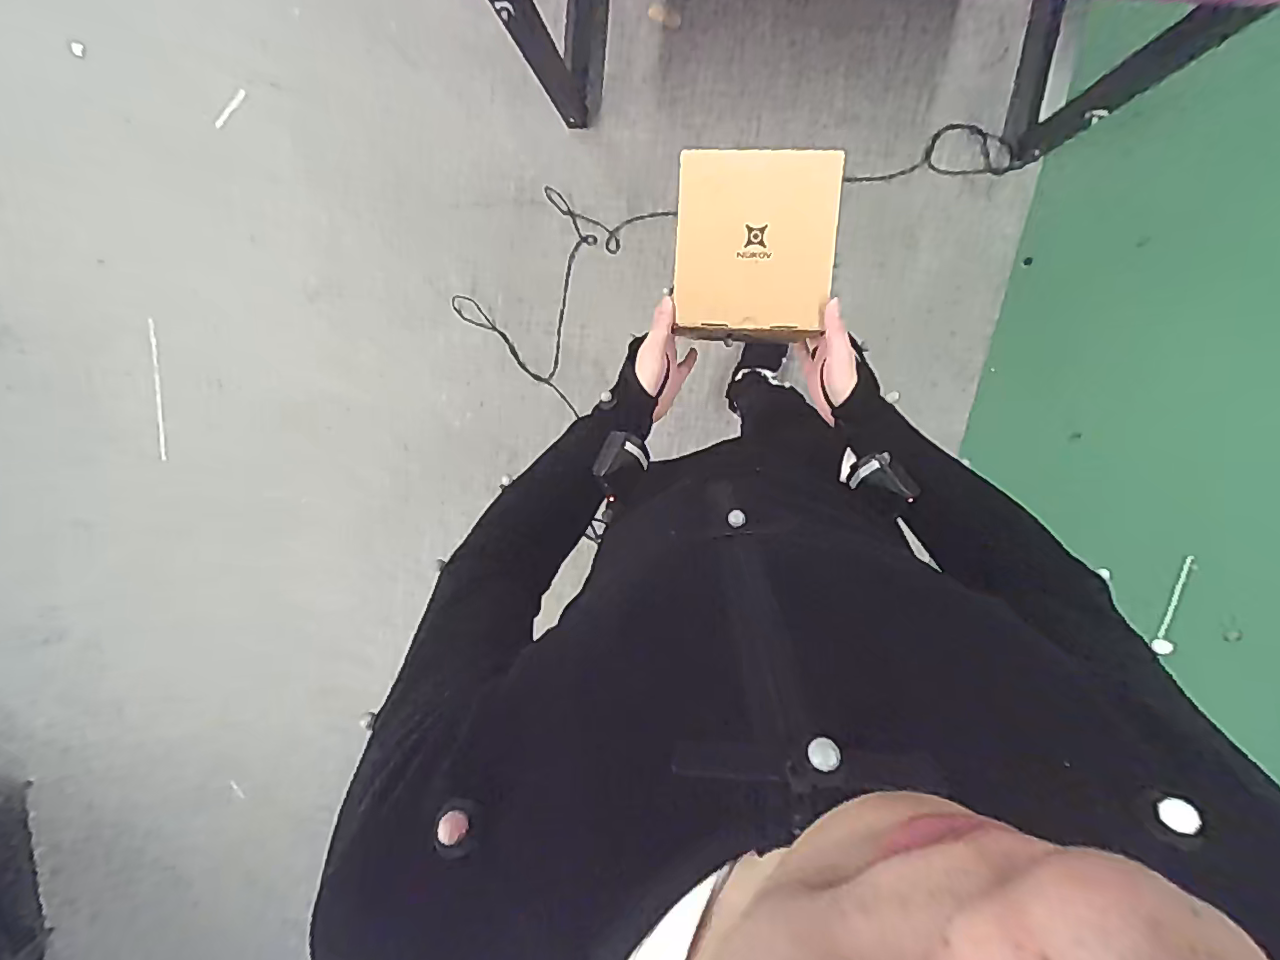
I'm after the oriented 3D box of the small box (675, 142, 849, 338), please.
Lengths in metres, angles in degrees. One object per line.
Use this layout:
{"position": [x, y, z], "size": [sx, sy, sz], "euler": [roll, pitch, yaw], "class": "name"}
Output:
{"position": [0.127, -0.264, 0.630], "size": [0.168, 0.176, 0.179], "euler": [3, 101, 4], "class": "small box"}
